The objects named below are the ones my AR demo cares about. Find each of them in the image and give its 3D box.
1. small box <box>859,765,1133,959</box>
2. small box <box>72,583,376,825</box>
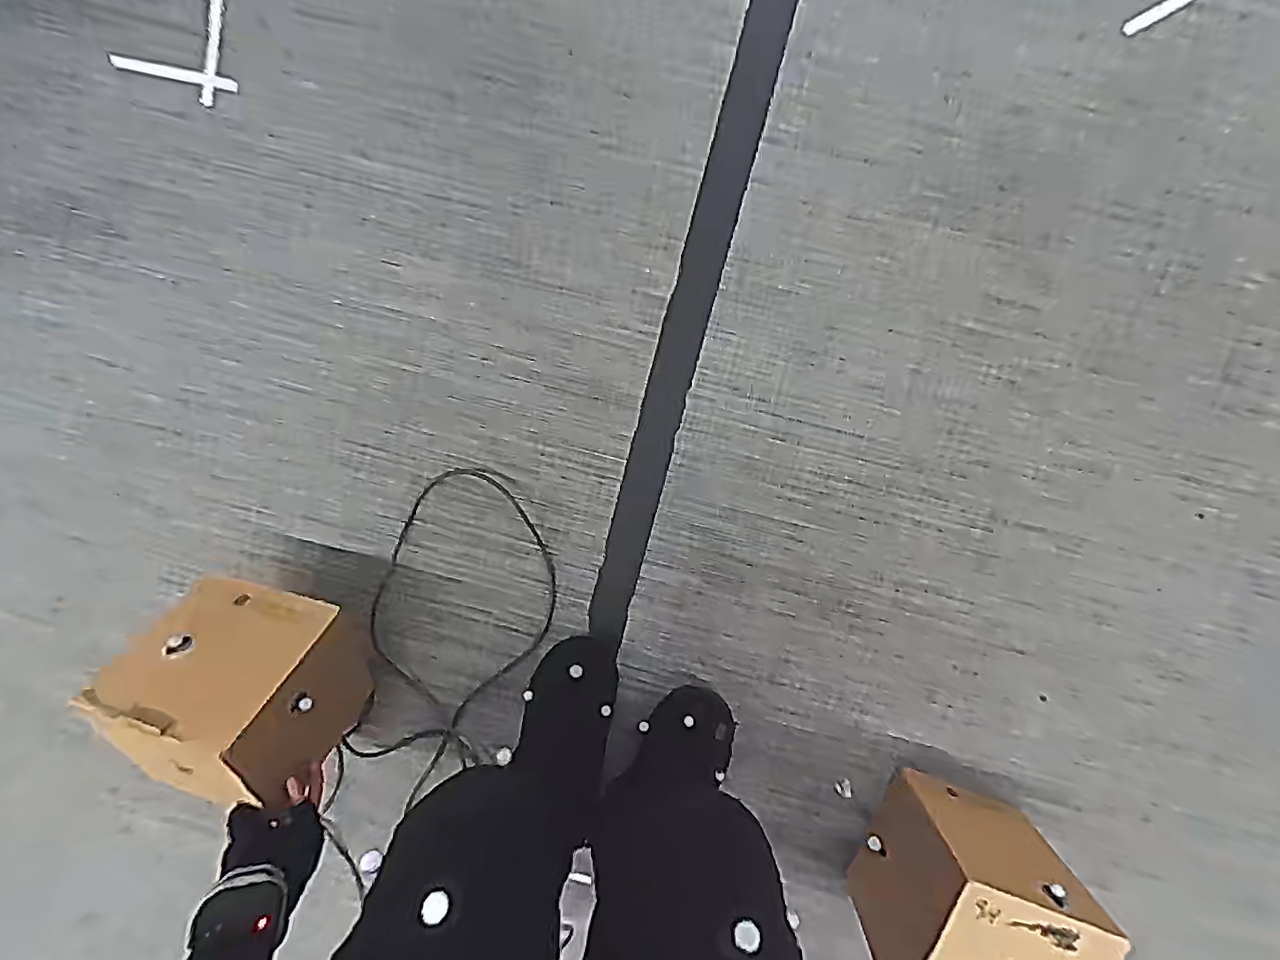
[{"bbox_3d":[0.367,0.467,0.603,0.168,0.176,0.179,20,99,2],"label":"small box"},{"bbox_3d":[-0.431,0.242,0.600,0.168,0.176,0.179,14,133,9],"label":"small box"}]
